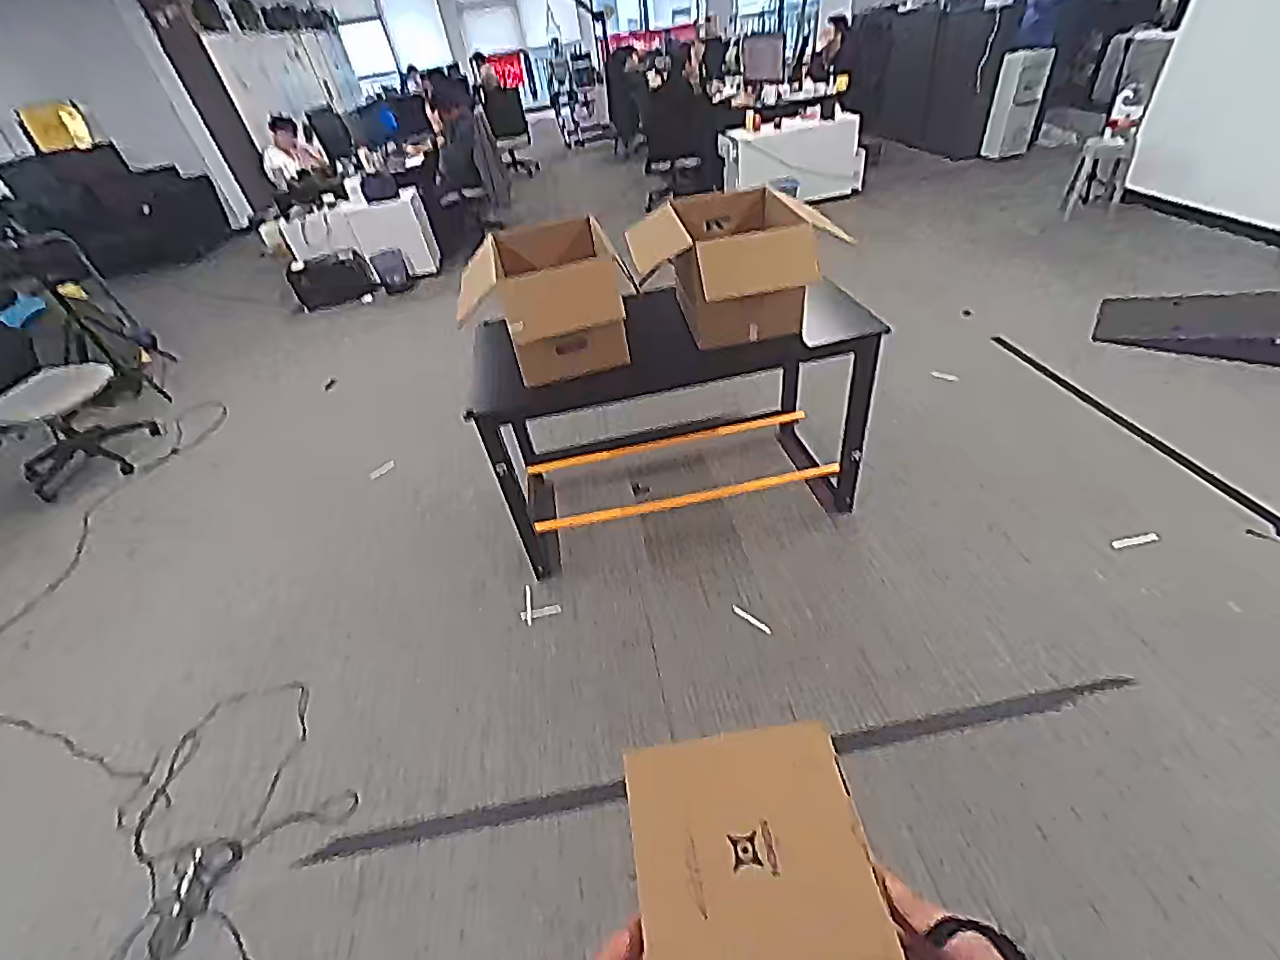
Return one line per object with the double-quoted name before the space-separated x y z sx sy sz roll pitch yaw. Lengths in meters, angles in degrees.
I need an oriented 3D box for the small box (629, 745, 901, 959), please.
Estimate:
"small box" 0.093 0.352 0.469 0.179 0.176 0.168 -10 48 -2
